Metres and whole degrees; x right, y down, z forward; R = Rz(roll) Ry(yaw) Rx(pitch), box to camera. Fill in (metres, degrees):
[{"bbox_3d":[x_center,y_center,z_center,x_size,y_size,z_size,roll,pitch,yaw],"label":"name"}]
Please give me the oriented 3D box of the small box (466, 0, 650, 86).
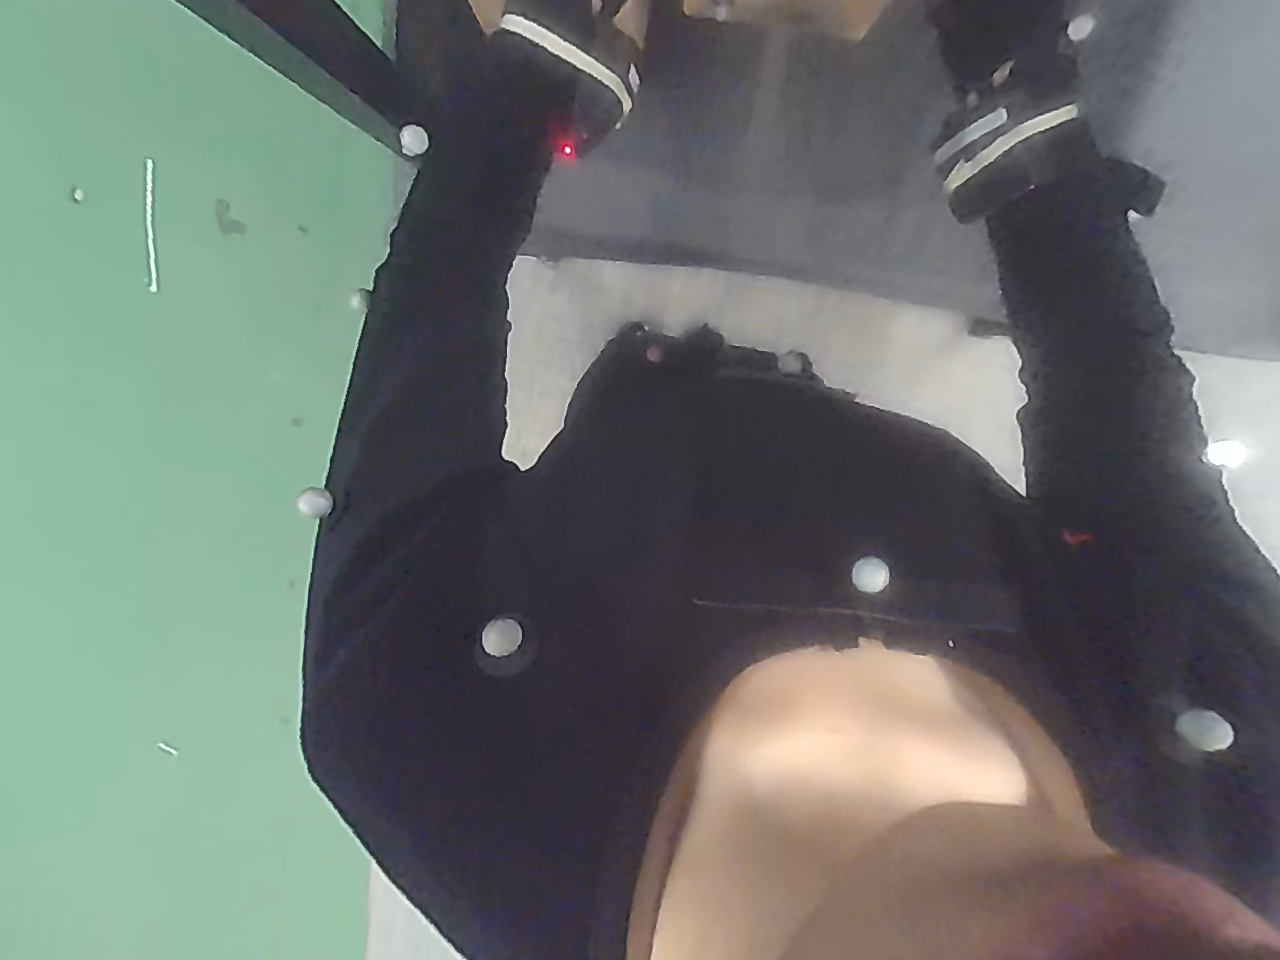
[{"bbox_3d":[-0.070,-0.519,0.514,0.168,0.176,0.179,12,104,-3],"label":"small box"}]
